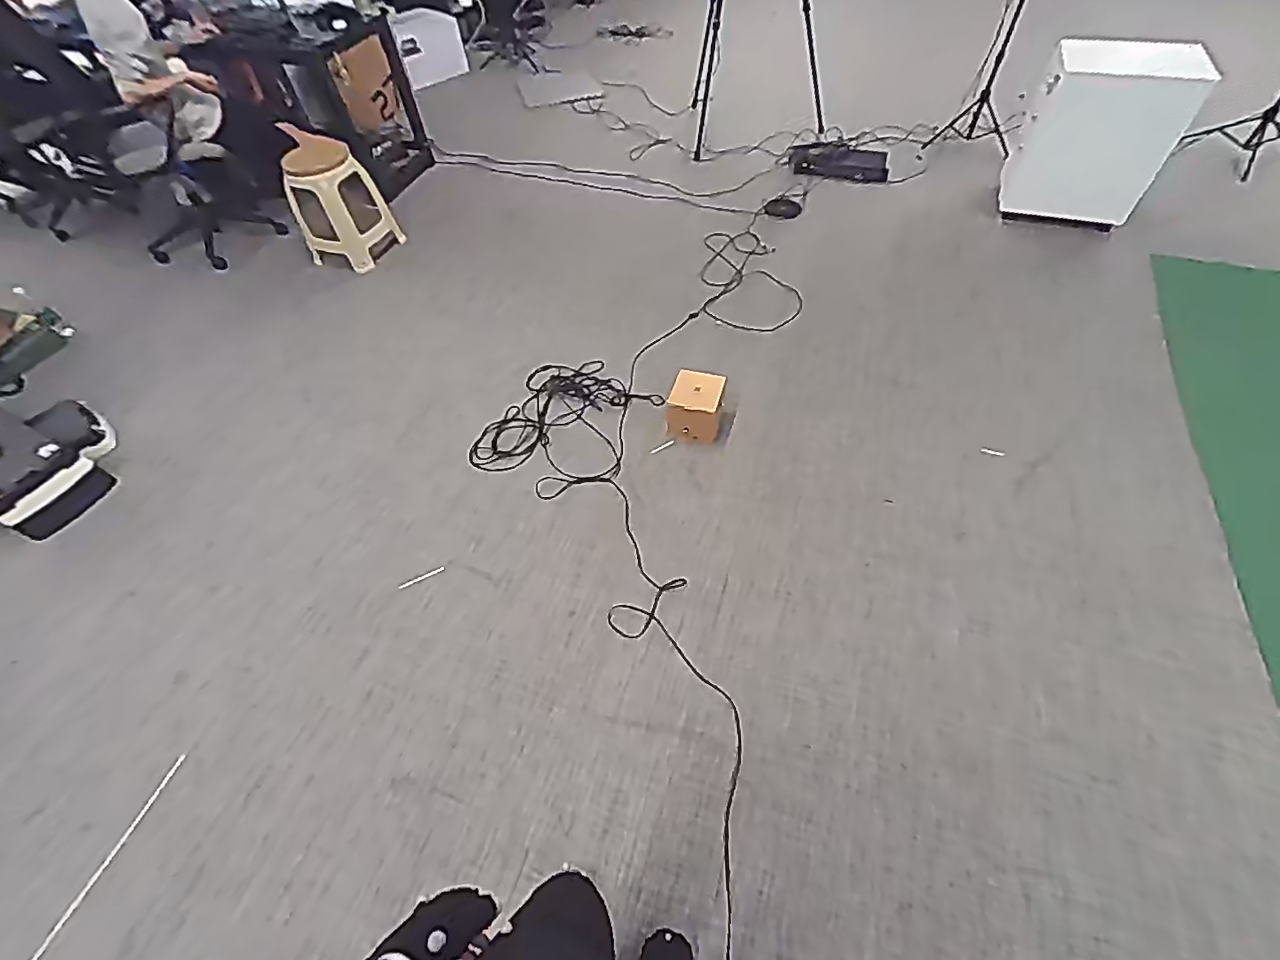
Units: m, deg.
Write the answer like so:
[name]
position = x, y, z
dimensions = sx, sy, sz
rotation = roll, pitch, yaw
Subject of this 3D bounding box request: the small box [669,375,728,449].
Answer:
[small box]
position = 0.203, -0.237, 1.889
dimensions = 0.168, 0.176, 0.179
rotation = 12, 56, 14
